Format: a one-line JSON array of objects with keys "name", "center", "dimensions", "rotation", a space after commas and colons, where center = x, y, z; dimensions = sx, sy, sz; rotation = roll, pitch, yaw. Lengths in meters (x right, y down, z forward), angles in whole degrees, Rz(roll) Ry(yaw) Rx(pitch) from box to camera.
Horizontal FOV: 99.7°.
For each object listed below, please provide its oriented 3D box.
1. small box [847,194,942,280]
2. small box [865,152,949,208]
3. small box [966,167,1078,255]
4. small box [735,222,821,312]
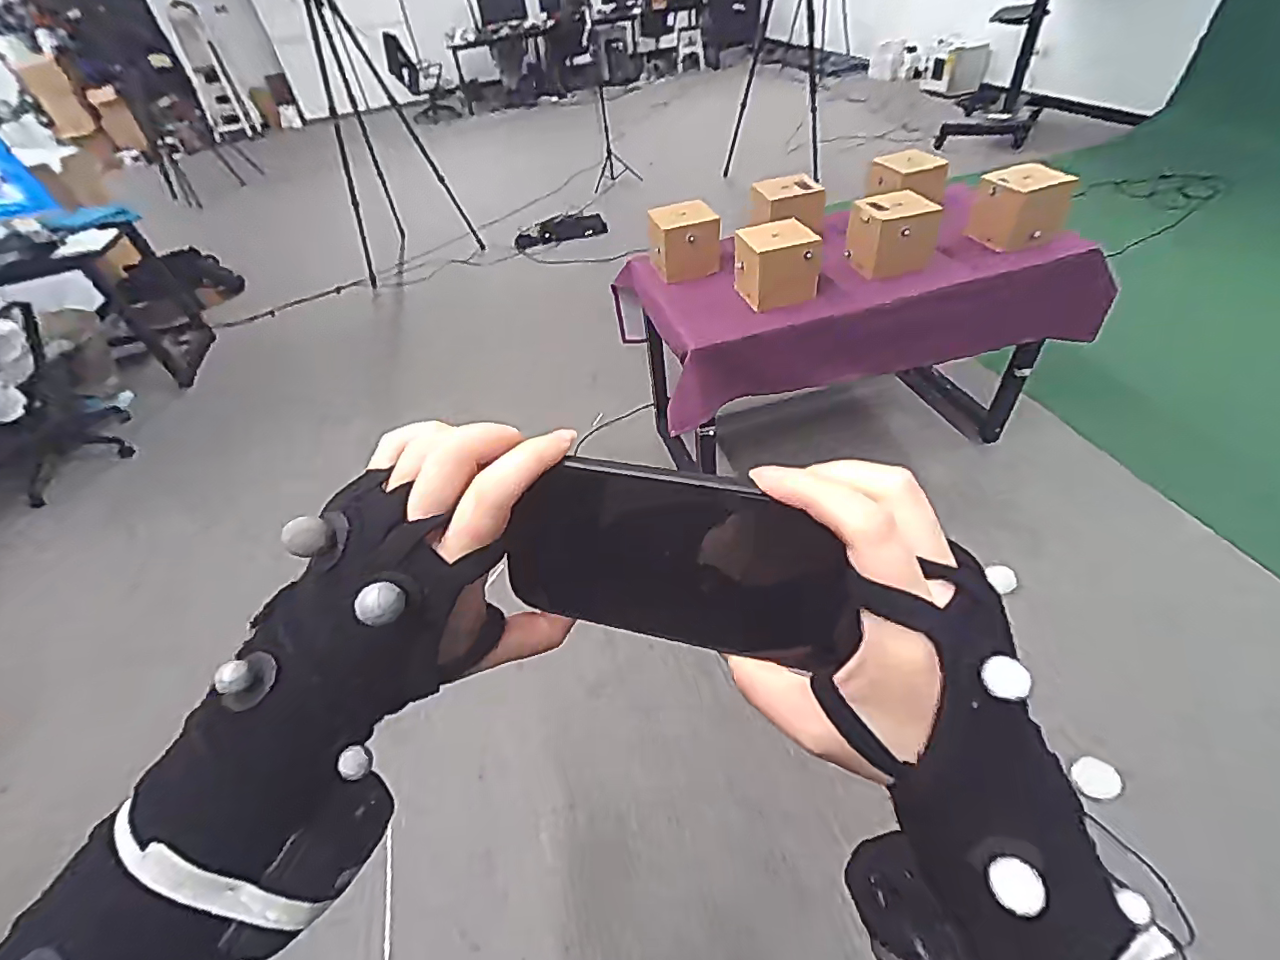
[{"name": "small box", "center": [0.704, -0.681, 1.524], "dimensions": [0.179, 0.176, 0.168], "rotation": [-12, 45, -5]}, {"name": "small box", "center": [0.848, -0.932, 1.747], "dimensions": [0.168, 0.176, 0.179], "rotation": [-18, 46, -8]}, {"name": "small box", "center": [1.083, -0.771, 1.552], "dimensions": [0.179, 0.176, 0.168], "rotation": [-16, 45, -7]}, {"name": "small box", "center": [0.370, -0.578, 1.474], "dimensions": [0.179, 0.176, 0.168], "rotation": [-14, 45, -6]}]
